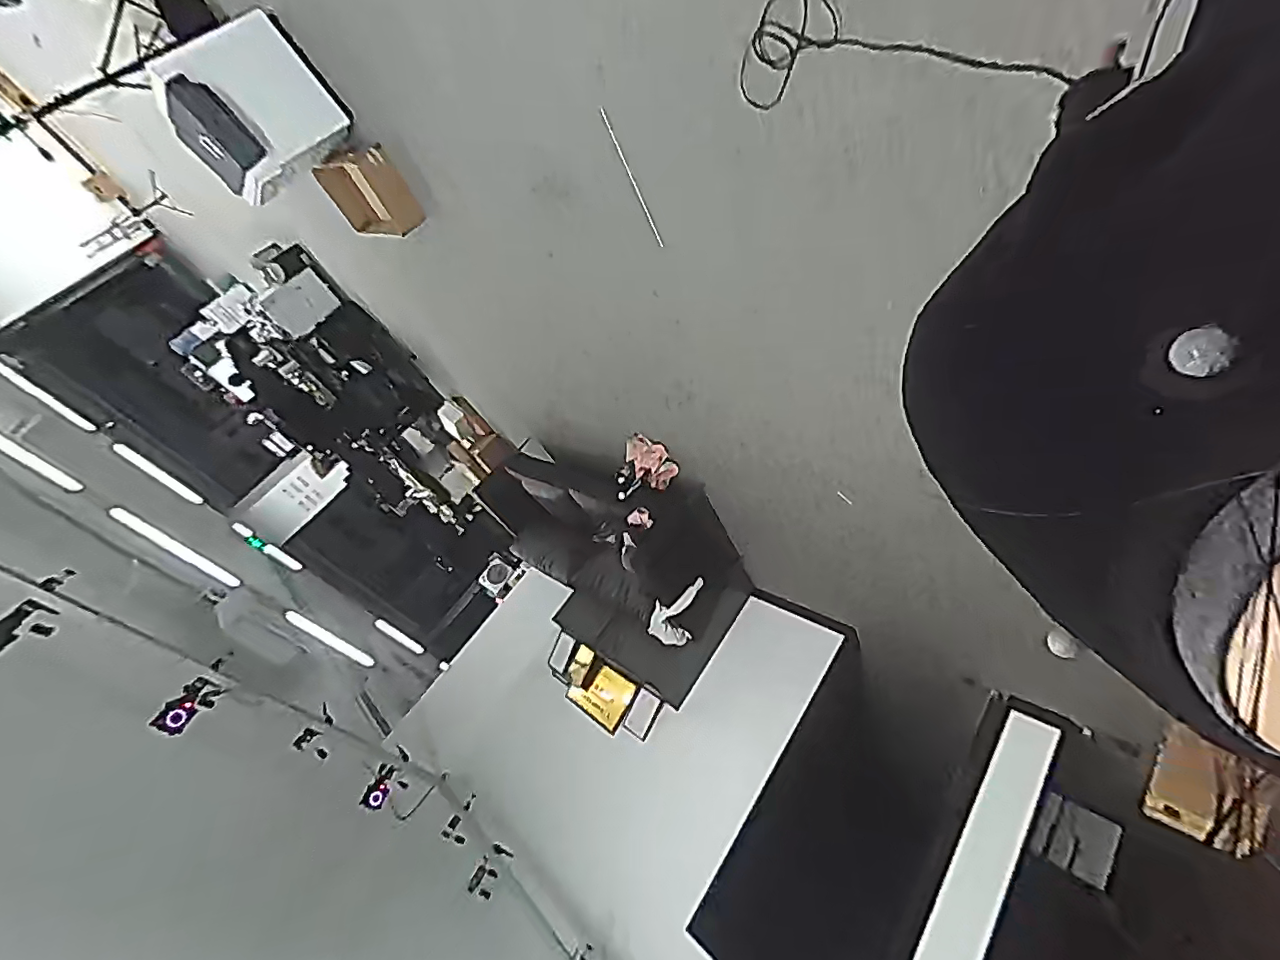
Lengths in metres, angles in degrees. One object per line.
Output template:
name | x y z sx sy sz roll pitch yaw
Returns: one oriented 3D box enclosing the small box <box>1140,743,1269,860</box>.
small box | 1.370 0.771 1.317 0.179 0.176 0.168 18 150 43
